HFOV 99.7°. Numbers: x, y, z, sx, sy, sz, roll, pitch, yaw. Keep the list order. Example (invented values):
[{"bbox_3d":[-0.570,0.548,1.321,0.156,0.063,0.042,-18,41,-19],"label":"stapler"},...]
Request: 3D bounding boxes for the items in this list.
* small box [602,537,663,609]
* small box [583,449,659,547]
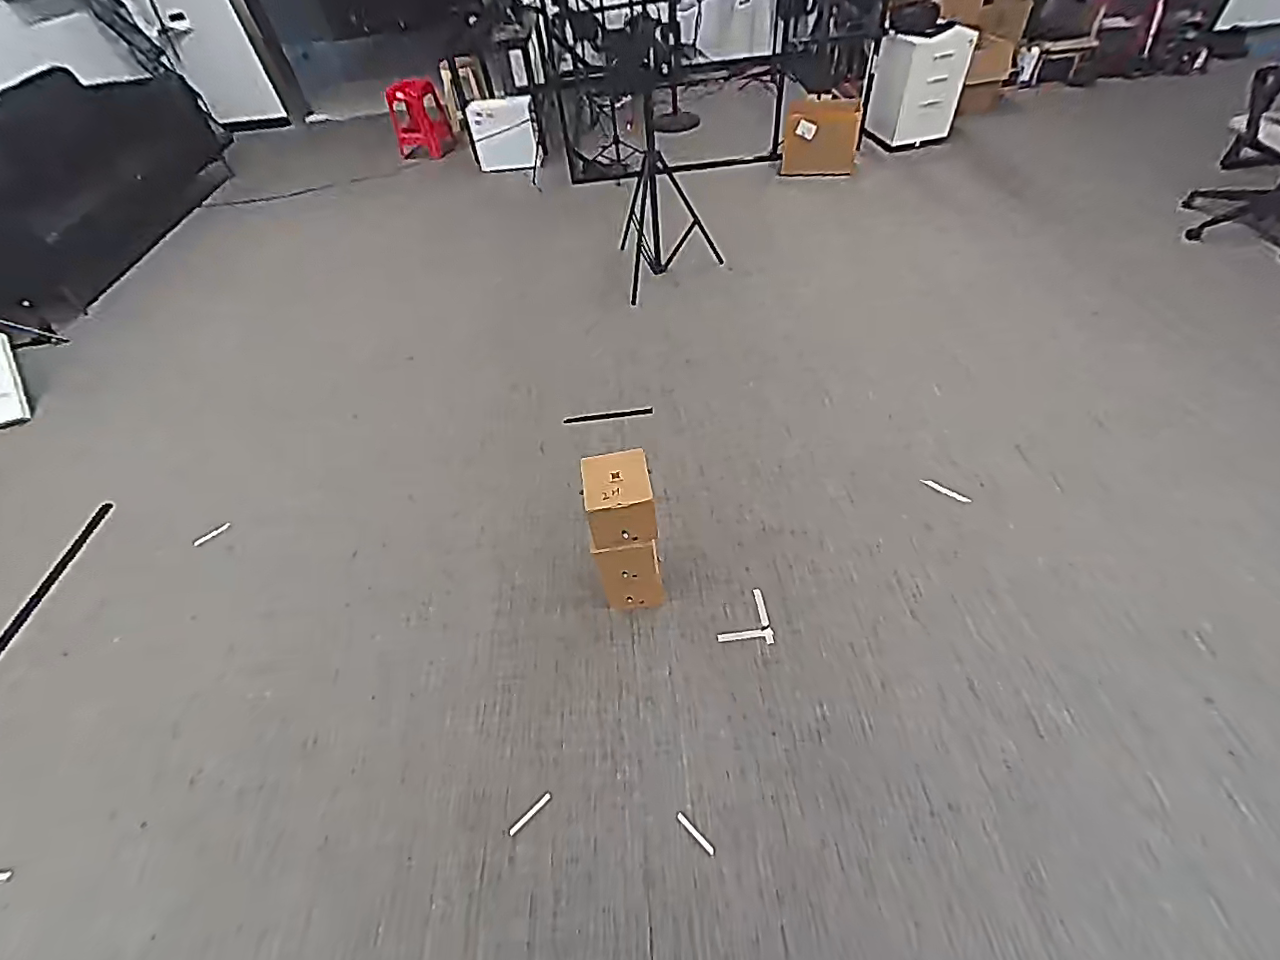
[{"bbox_3d":[-0.023,0.267,1.636,0.168,0.176,0.179,-7,49,1],"label":"small box"},{"bbox_3d":[-0.048,0.047,1.392,0.168,0.176,0.179,-10,50,-1],"label":"small box"}]
